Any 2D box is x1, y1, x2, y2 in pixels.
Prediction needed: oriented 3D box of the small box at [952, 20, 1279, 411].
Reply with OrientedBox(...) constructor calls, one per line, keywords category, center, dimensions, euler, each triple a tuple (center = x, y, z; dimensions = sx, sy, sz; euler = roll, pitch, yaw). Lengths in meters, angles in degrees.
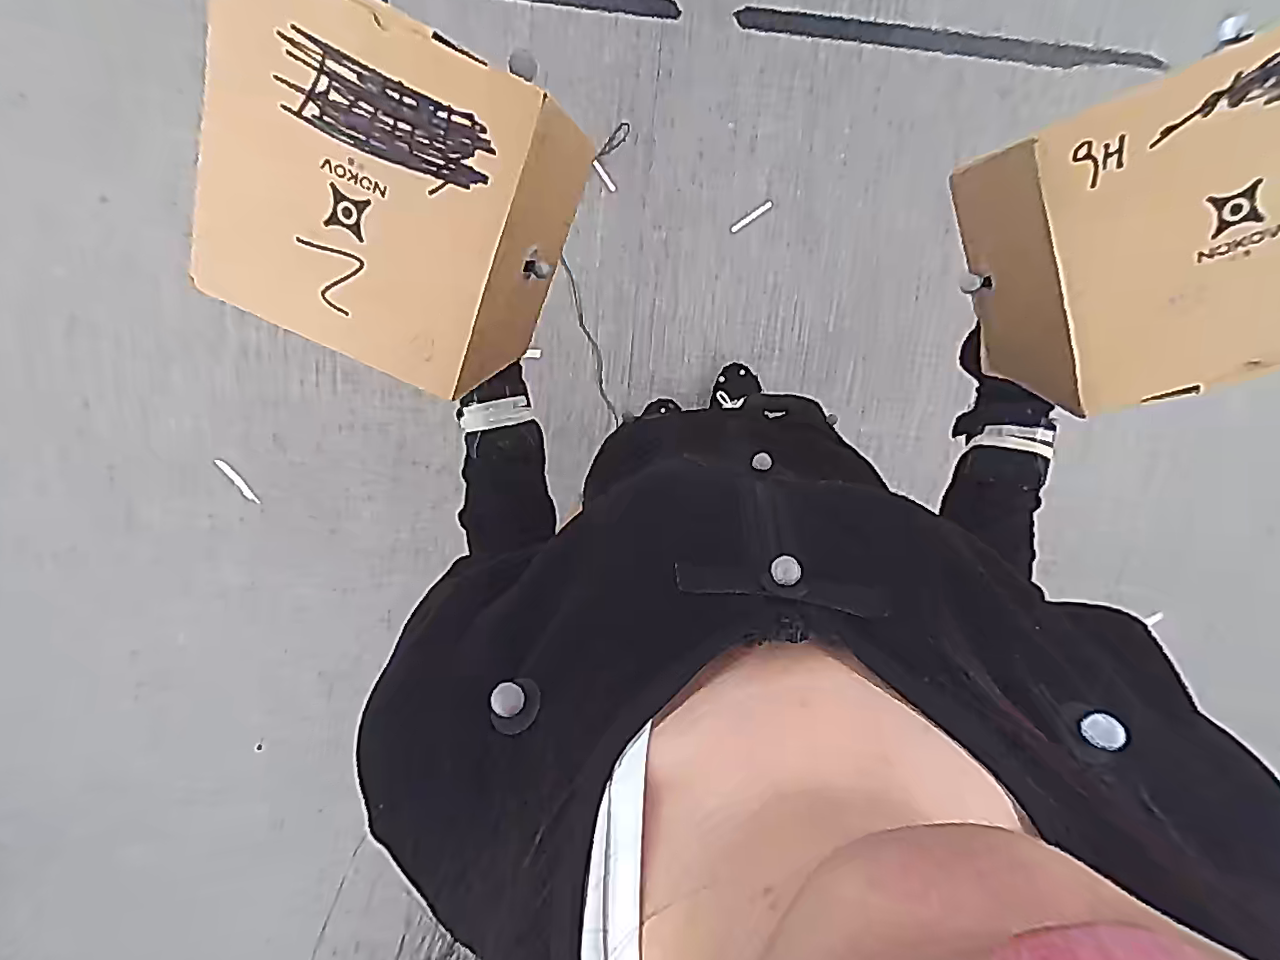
OrientedBox(category="small box", center=(0.341, -0.173, 0.370), dimensions=(0.168, 0.176, 0.179), euler=(-18, 108, 20))
